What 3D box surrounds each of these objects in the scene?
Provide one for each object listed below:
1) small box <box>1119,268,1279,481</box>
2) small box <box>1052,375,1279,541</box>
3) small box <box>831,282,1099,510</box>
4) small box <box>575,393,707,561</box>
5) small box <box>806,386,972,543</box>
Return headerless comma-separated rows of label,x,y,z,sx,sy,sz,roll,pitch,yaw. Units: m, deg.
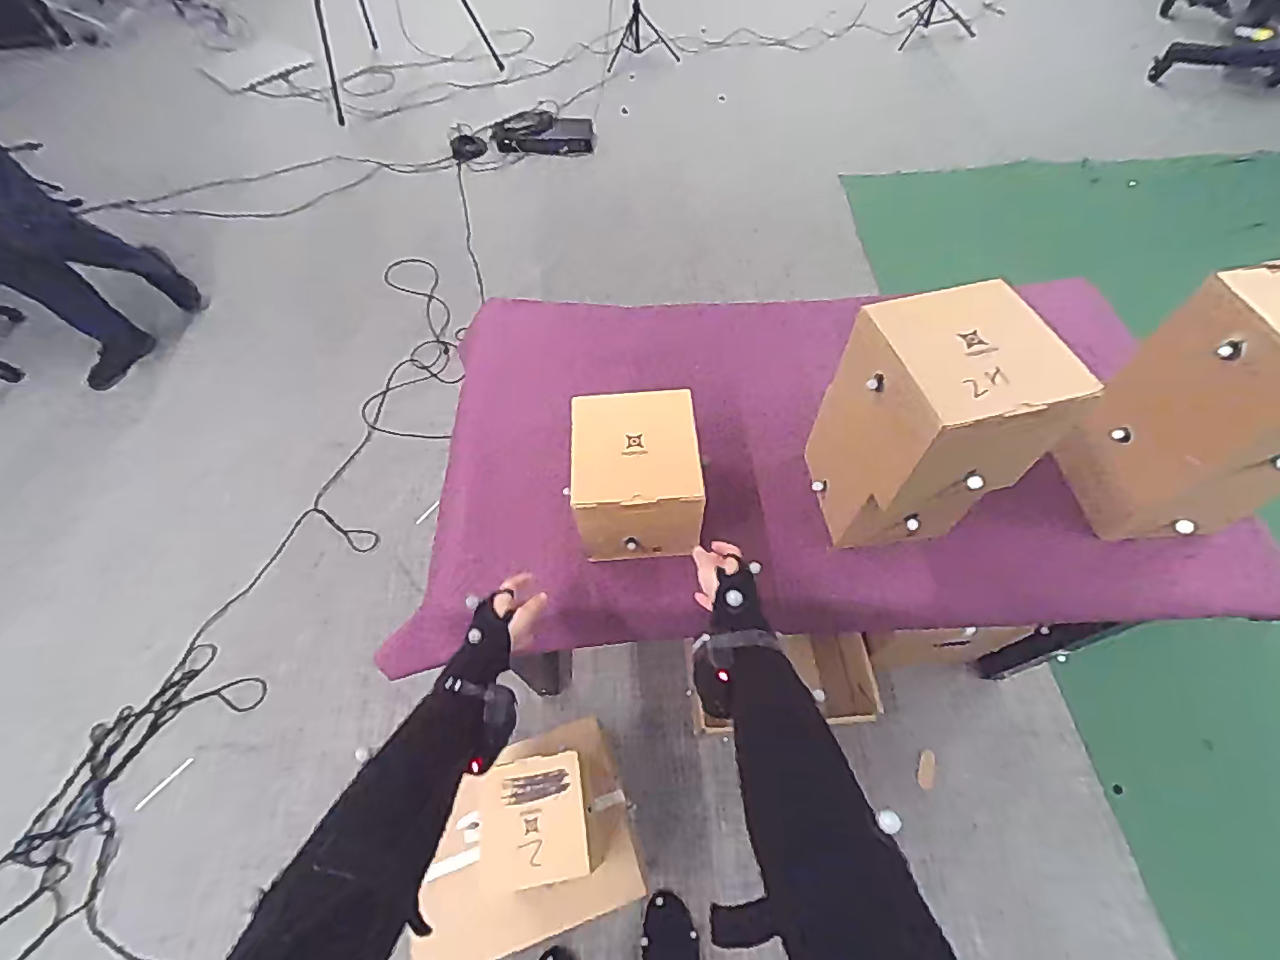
small box,0.721,-0.121,0.620,0.168,0.176,0.179,-6,57,0
small box,0.734,-0.031,0.755,0.168,0.176,0.179,-4,57,1
small box,0.341,-0.091,0.616,0.168,0.176,0.179,-12,57,-4
small box,-0.002,-0.001,0.772,0.168,0.176,0.179,-4,58,0
small box,0.352,-0.022,0.768,0.168,0.176,0.179,-6,57,-2
